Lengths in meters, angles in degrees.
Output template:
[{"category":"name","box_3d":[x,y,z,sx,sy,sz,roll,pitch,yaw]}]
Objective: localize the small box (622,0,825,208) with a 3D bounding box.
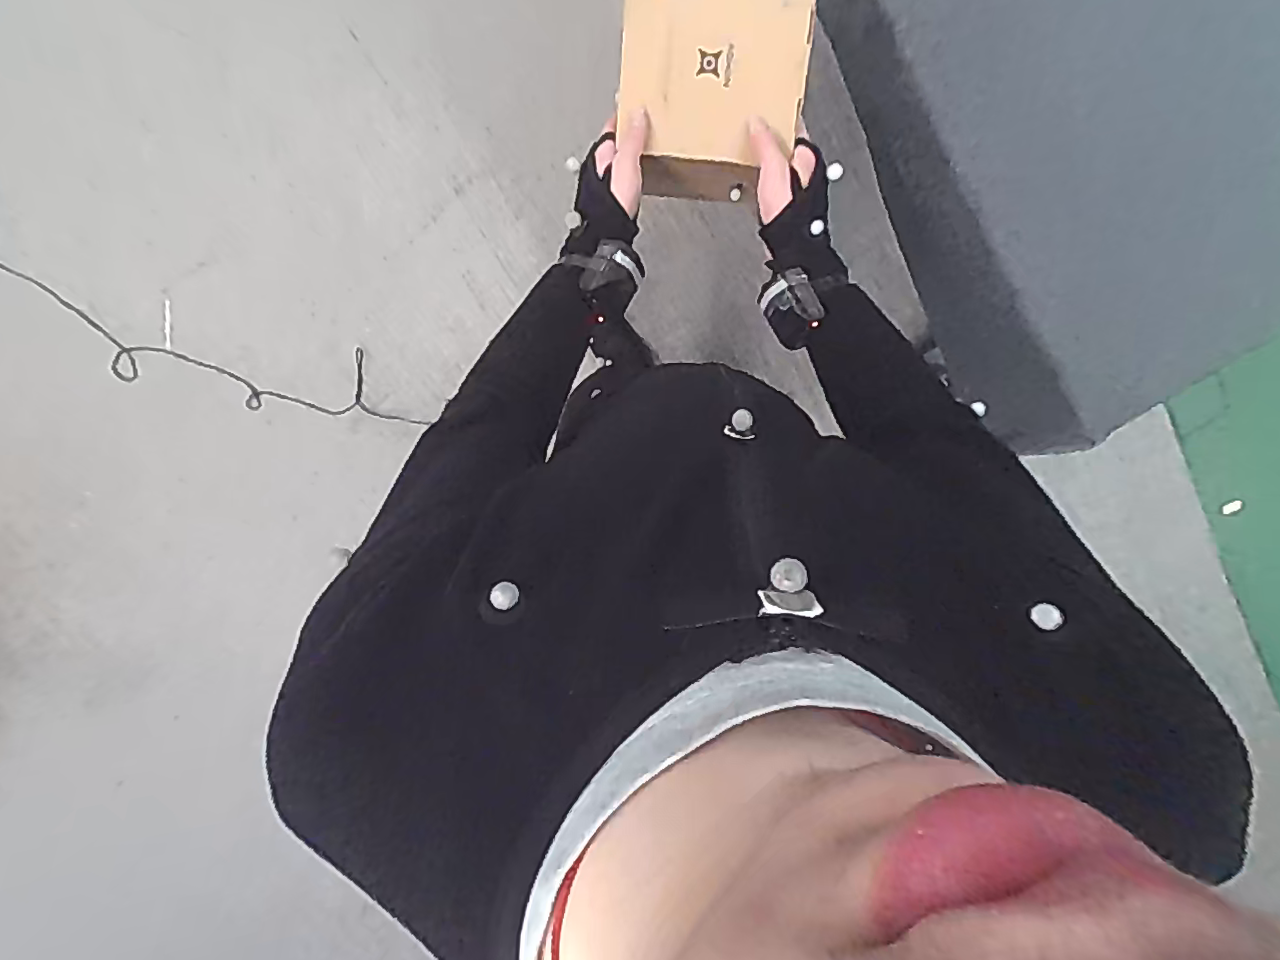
[{"category":"small box","box_3d":[0.075,-0.397,0.568,0.179,0.176,0.168,3,103,1]}]
